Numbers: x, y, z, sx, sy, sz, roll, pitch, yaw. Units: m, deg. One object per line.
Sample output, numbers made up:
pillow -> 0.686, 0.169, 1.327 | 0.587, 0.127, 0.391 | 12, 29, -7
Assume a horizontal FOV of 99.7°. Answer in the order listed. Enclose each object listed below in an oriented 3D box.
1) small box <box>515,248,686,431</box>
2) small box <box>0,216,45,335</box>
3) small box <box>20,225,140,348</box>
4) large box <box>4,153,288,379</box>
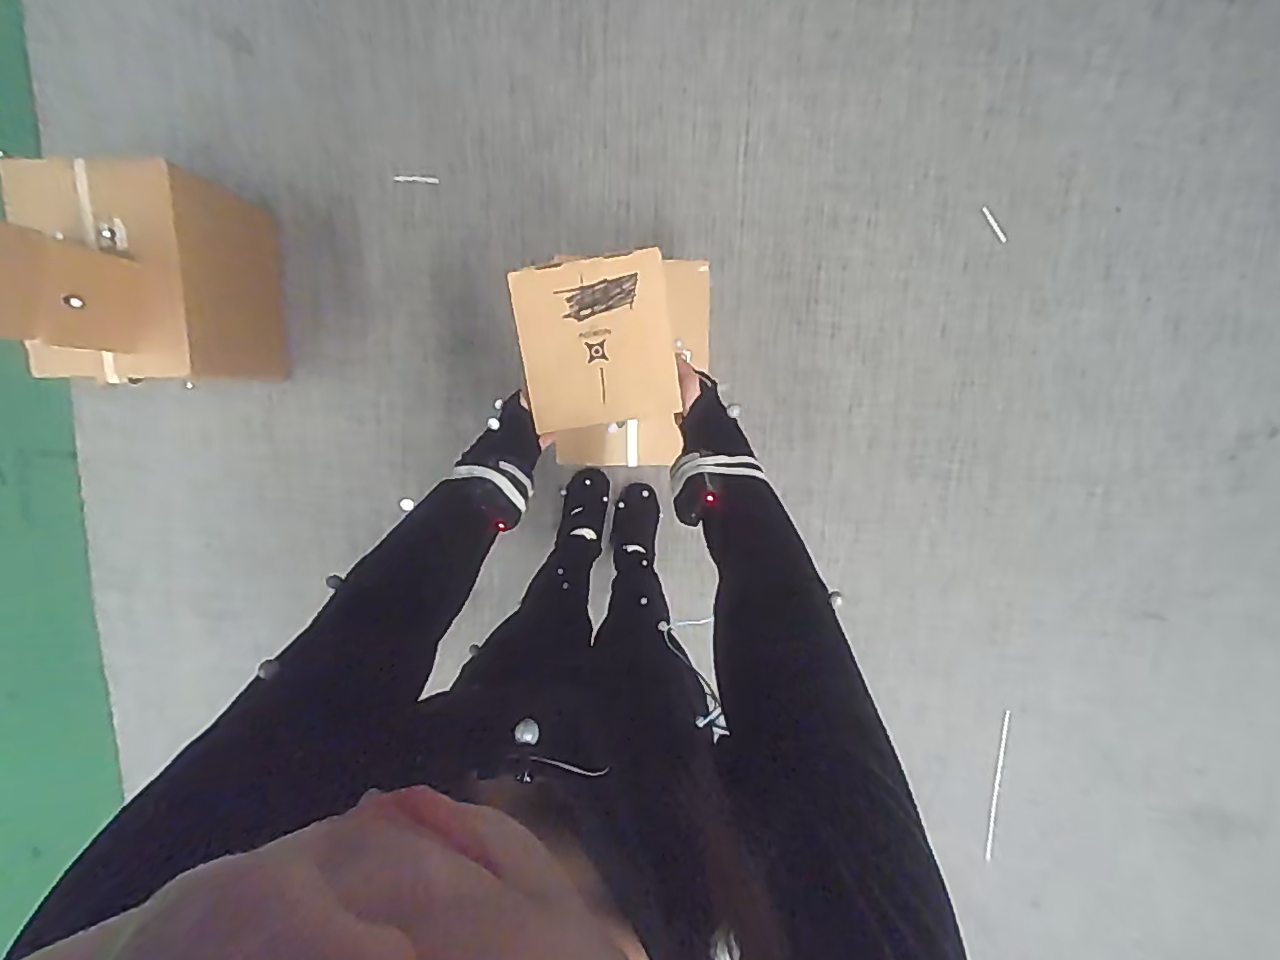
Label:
small box -> -0.041, -0.161, 0.659 | 0.168, 0.176, 0.179 | -8, 100, 2
small box -> -1.037, -0.323, 0.786 | 0.168, 0.176, 0.179 | 15, 100, -2
small box -> -1.034, -0.340, 0.948 | 0.168, 0.176, 0.179 | 11, 100, -2
large box -> -1.030, -0.430, 1.179 | 0.320, 0.320, 0.408 | 0, 99, -1
